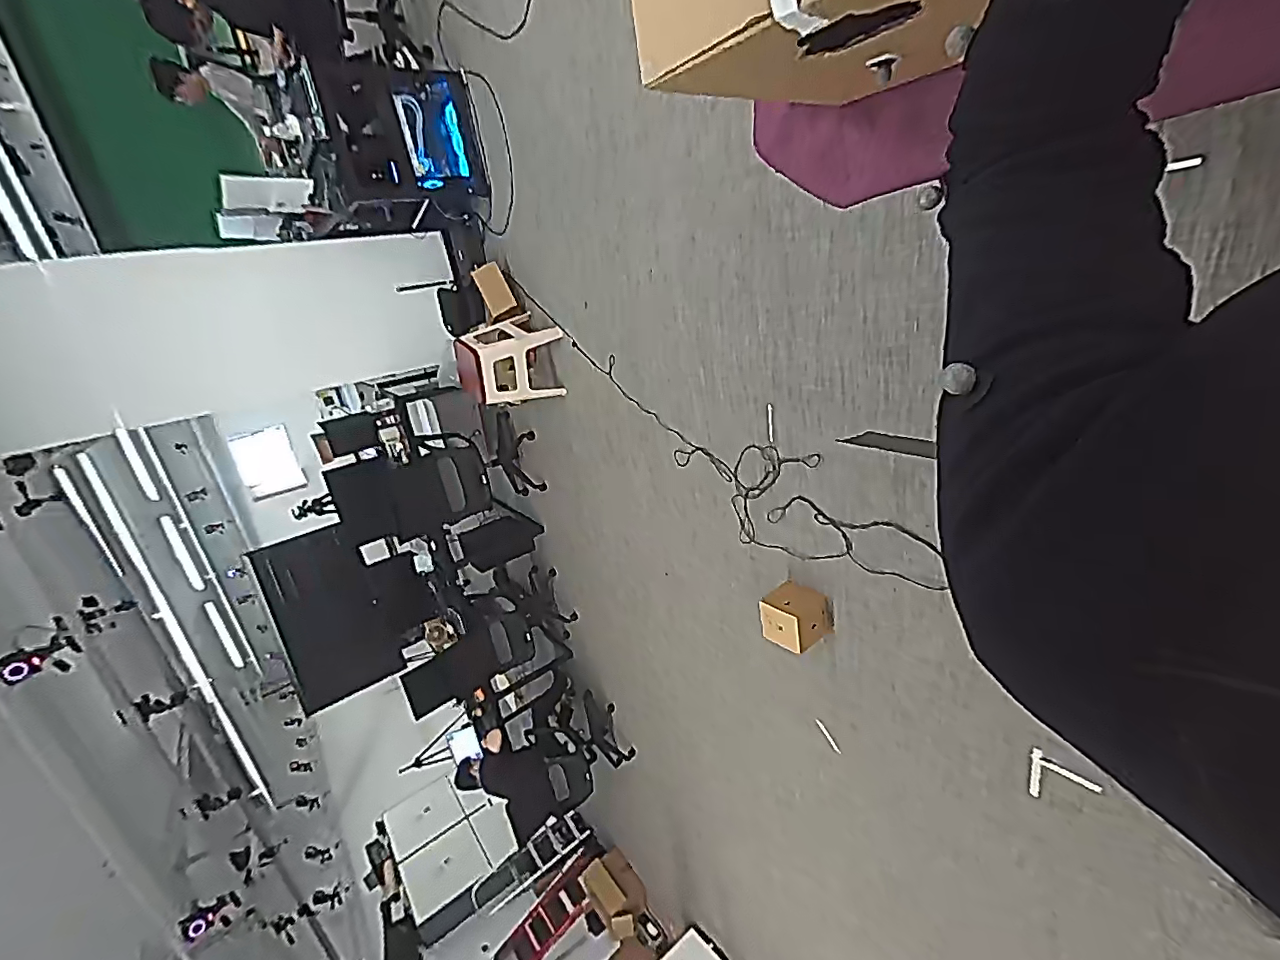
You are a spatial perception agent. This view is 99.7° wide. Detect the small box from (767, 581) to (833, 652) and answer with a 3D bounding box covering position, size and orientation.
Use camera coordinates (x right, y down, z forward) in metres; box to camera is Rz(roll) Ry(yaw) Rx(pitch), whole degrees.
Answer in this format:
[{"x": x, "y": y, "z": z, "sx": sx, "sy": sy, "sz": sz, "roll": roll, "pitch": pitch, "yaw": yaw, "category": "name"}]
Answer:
[{"x": 0.596, "y": 0.497, "z": 1.999, "sx": 0.179, "sy": 0.176, "sz": 0.168, "roll": 18, "pitch": 124, "yaw": 53, "category": "small box"}]
